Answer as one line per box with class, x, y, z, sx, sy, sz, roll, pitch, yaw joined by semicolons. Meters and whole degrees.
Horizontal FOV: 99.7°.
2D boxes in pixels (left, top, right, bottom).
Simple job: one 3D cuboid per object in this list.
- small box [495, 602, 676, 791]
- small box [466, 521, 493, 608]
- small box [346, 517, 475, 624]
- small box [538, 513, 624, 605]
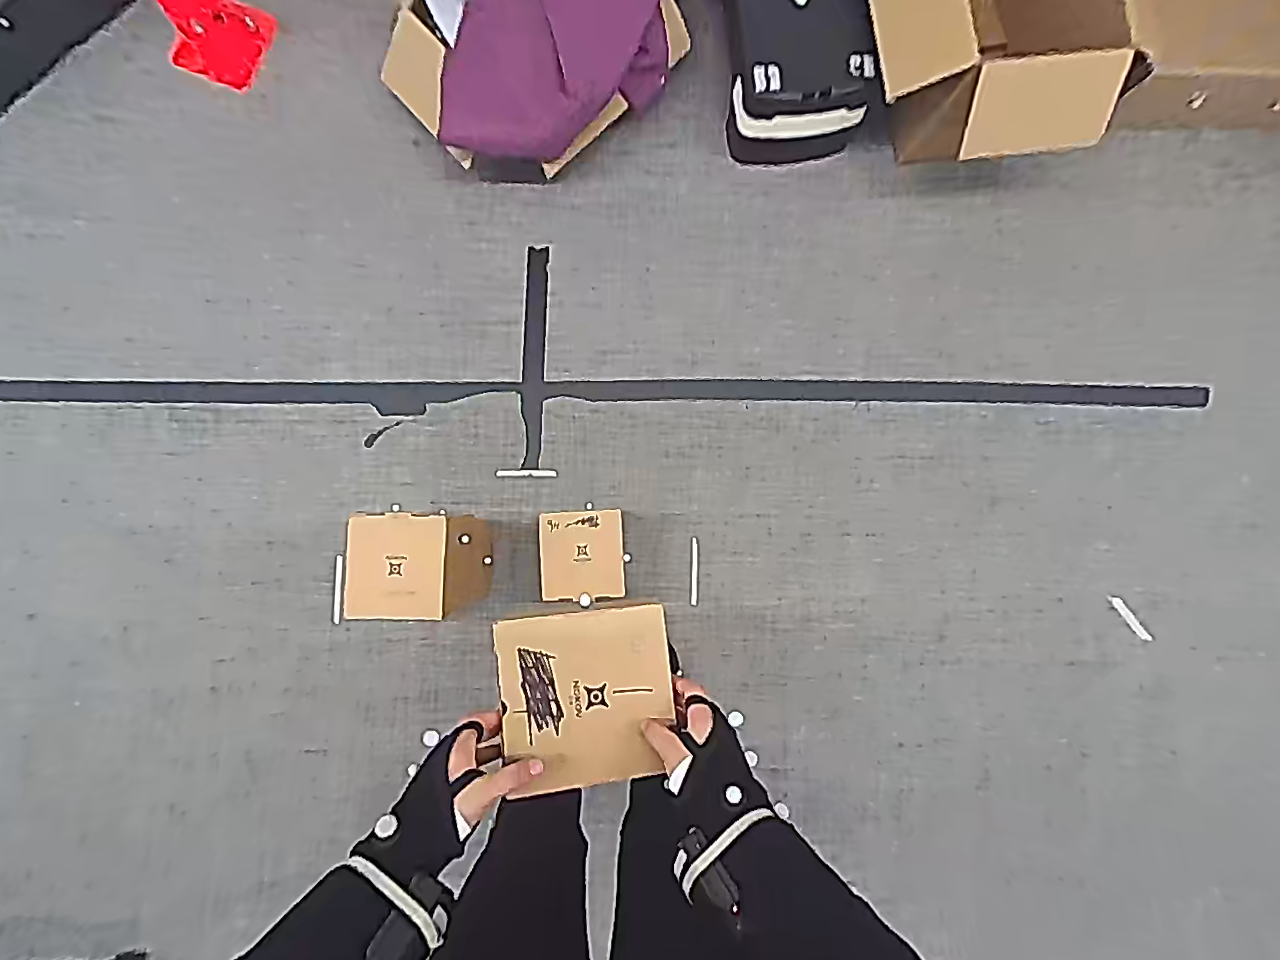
small box;-0.065;0.234;0.630;0.179;0.176;0.168;-5;80;-9
small box;-0.418;0.171;1.145;0.179;0.176;0.168;2;86;-1
small box;-0.406;0.157;0.983;0.168;0.176;0.179;1;88;0
small box;-0.120;0.162;1.156;0.168;0.176;0.179;-3;87;-2
